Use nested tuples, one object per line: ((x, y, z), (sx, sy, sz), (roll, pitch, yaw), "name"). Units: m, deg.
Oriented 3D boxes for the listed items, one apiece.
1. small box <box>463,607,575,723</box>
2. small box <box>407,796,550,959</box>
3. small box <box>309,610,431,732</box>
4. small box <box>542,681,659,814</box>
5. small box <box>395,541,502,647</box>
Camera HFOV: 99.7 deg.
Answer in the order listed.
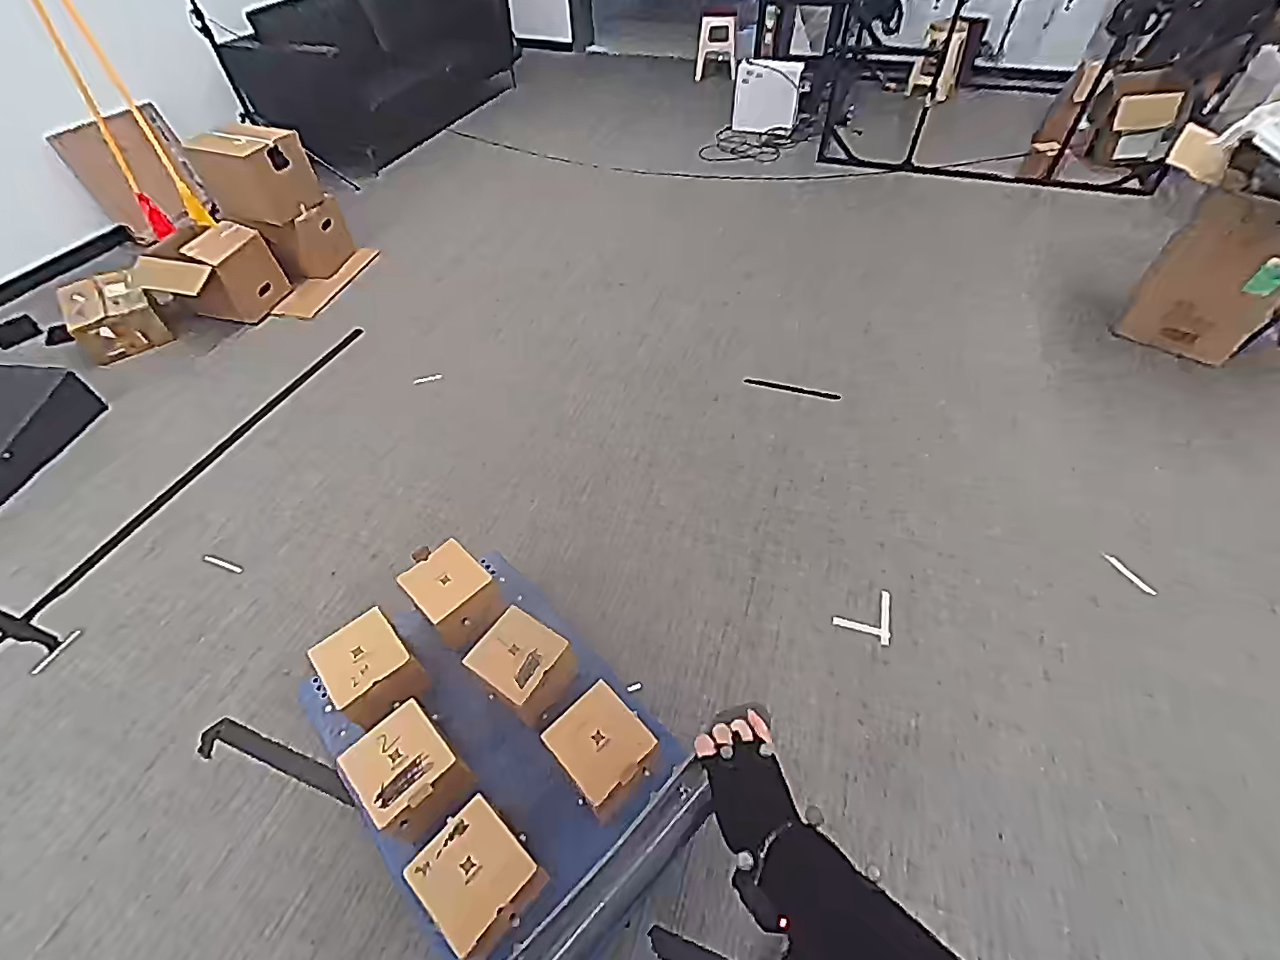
((-0.268, 0.431, 1.242), (0.179, 0.176, 0.168), (26, 55, 22), "small box")
((-0.285, 0.726, 0.991), (0.179, 0.176, 0.168), (34, 57, 26), "small box")
((-0.611, 0.440, 1.238), (0.168, 0.176, 0.179), (-36, 58, -25), "small box")
((-0.077, 0.563, 1.130), (0.168, 0.176, 0.179), (-37, 58, -27), "small box")
((-0.472, 0.295, 1.361), (0.179, 0.176, 0.168), (34, 59, 26), "small box")
